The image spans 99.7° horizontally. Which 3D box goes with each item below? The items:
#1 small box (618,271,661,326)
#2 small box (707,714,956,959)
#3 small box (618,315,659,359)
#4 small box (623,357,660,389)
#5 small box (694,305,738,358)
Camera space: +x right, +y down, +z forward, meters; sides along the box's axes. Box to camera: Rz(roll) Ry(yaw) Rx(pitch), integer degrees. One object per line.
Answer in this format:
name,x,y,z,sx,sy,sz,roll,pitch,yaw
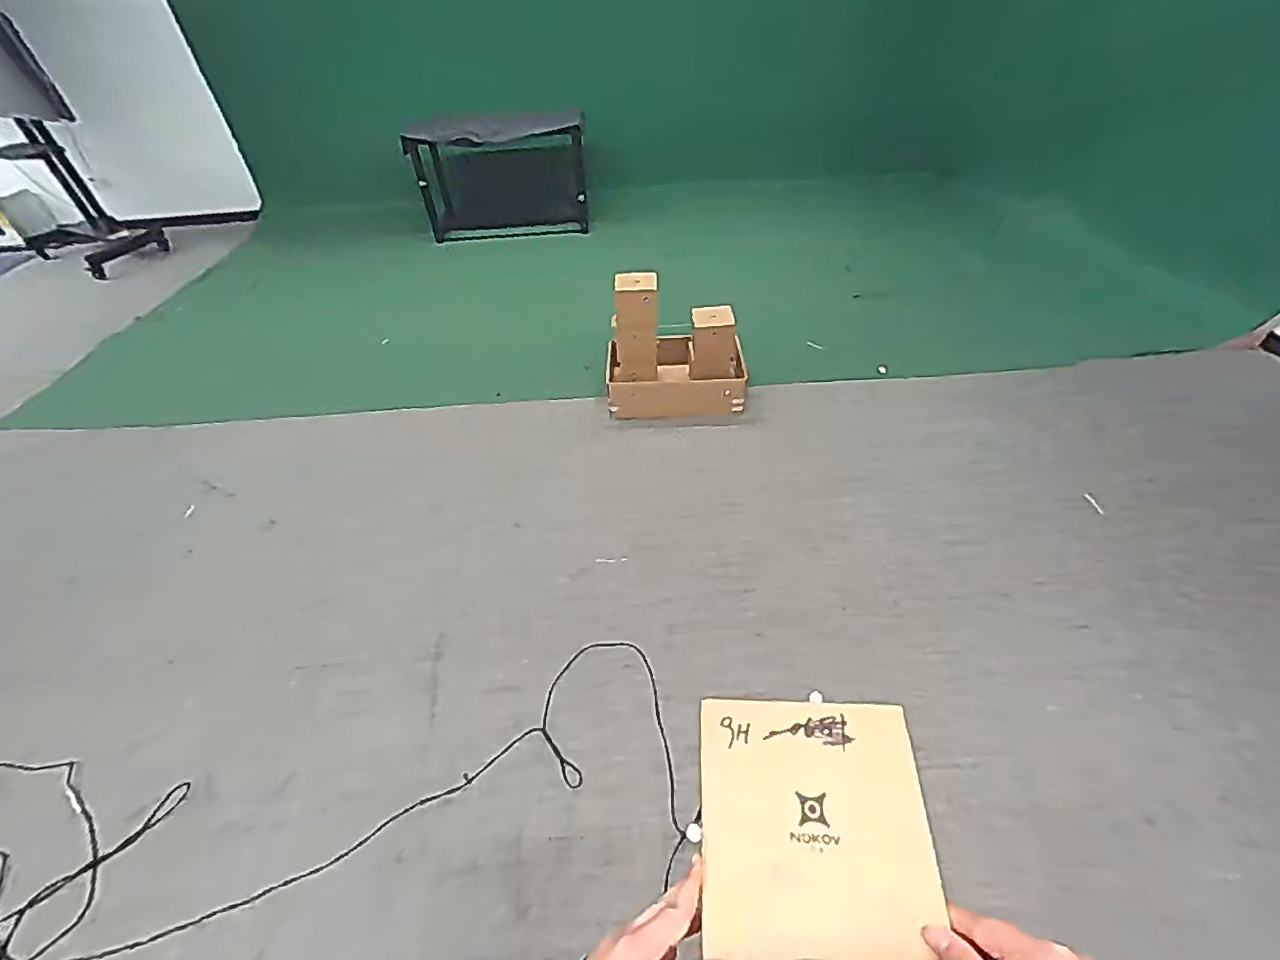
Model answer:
small box,-0.001,-0.766,2.293,0.179,0.176,0.168,-2,44,1
small box,0.142,0.316,0.466,0.168,0.176,0.179,-1,54,7
small box,-0.004,-0.650,2.410,0.179,0.176,0.168,-1,45,1
small box,0.008,-0.540,2.532,0.168,0.176,0.179,-2,45,1
small box,0.333,-0.653,2.389,0.179,0.176,0.168,-4,46,2
